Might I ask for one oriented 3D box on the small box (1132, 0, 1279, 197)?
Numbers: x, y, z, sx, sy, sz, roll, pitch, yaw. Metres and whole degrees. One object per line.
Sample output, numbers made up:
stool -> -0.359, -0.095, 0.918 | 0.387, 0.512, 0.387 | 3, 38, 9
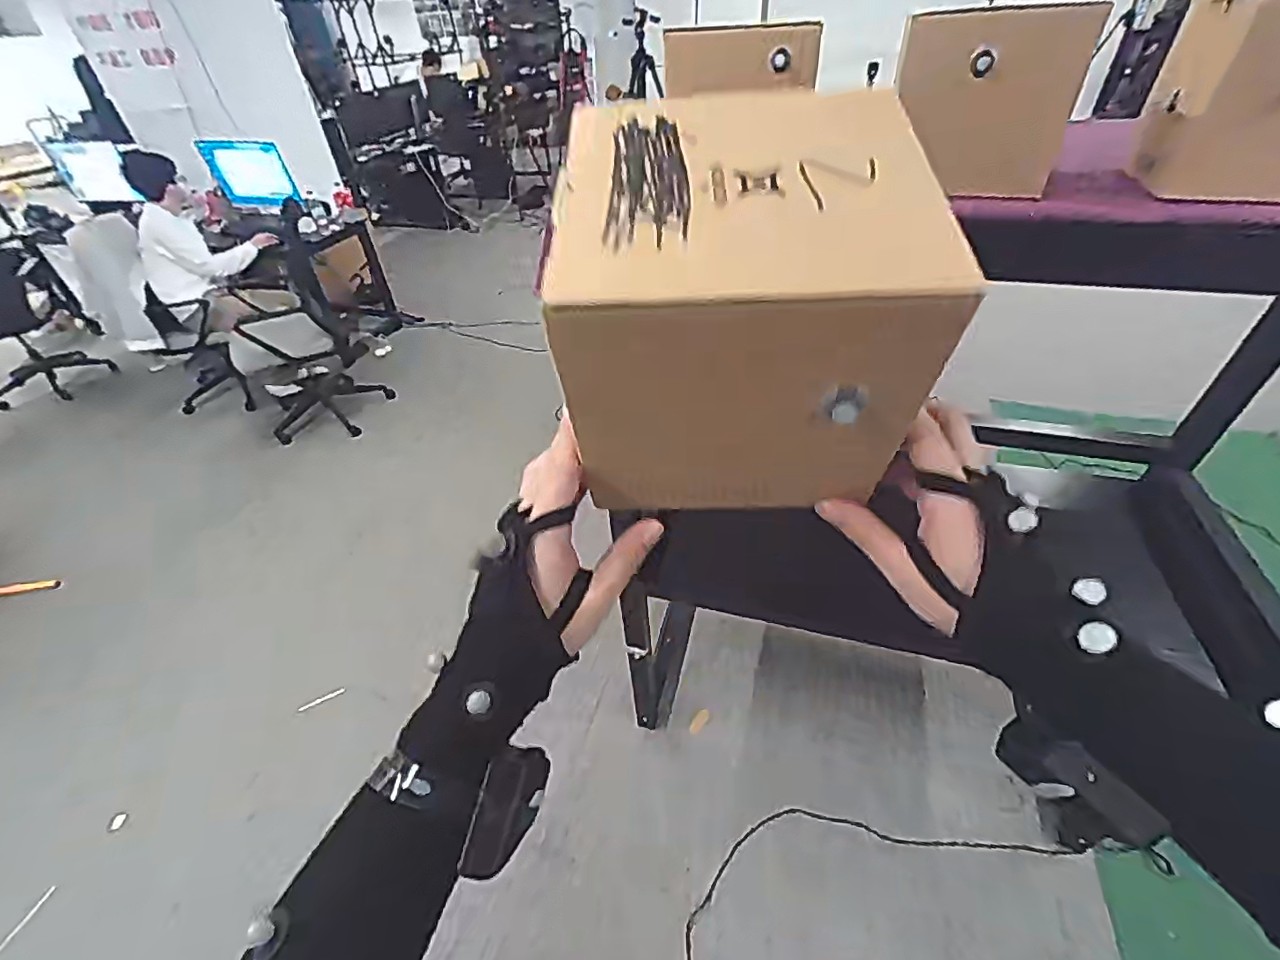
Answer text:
small box -> 0.647, -0.395, 0.545 | 0.179, 0.176, 0.168 | 10, 43, 18

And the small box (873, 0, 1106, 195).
small box -> 0.377, -0.438, 0.623 | 0.179, 0.176, 0.168 | 11, 43, 17

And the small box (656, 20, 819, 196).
small box -> 0.126, -0.473, 0.692 | 0.179, 0.176, 0.168 | 7, 42, 13
